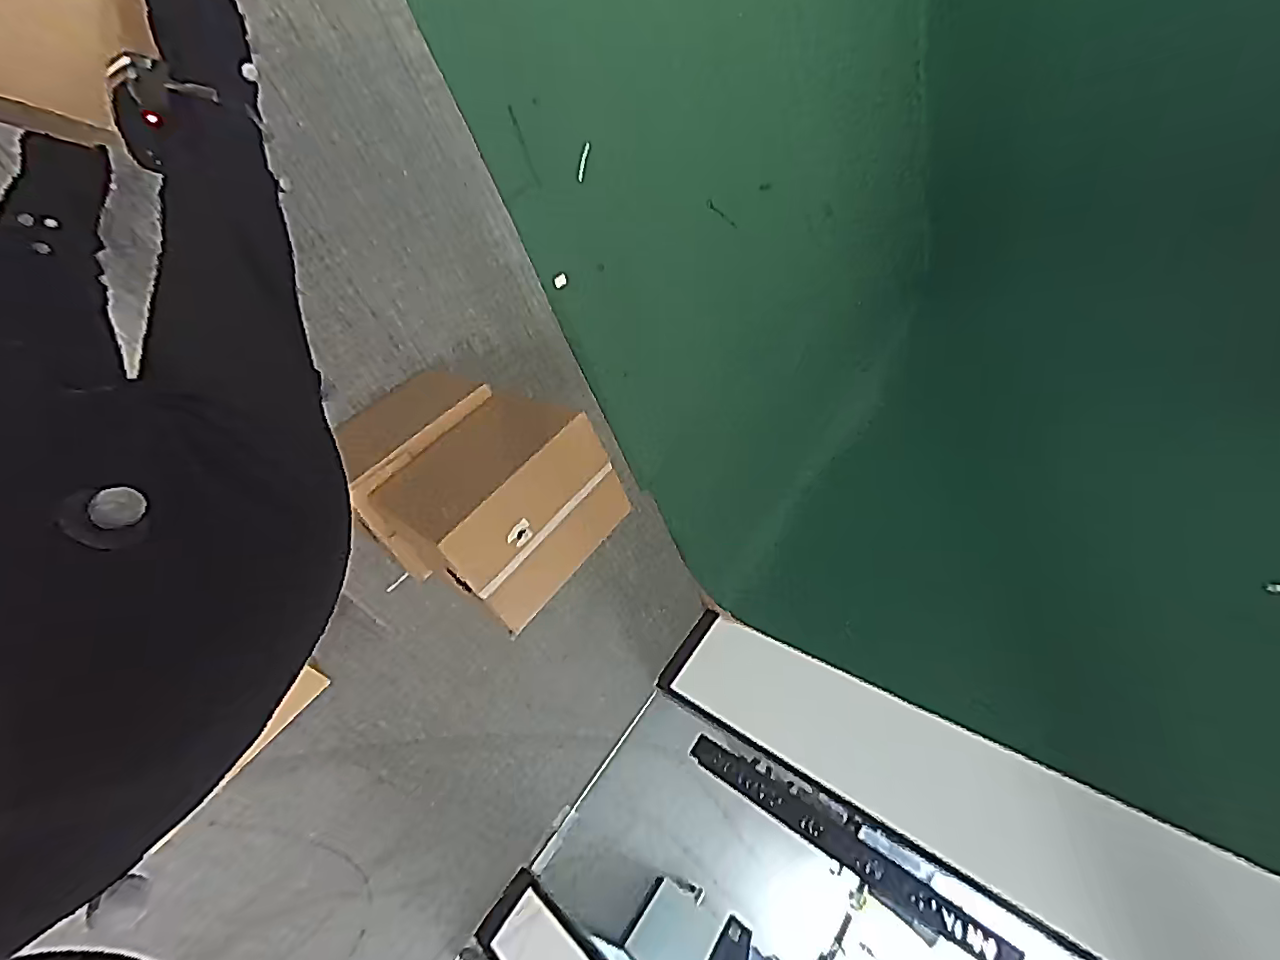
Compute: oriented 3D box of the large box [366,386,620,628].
[{"bbox_3d":[-0.318,0.042,1.241,0.408,0.320,0.320,-46,136,-26],"label":"large box"}]
